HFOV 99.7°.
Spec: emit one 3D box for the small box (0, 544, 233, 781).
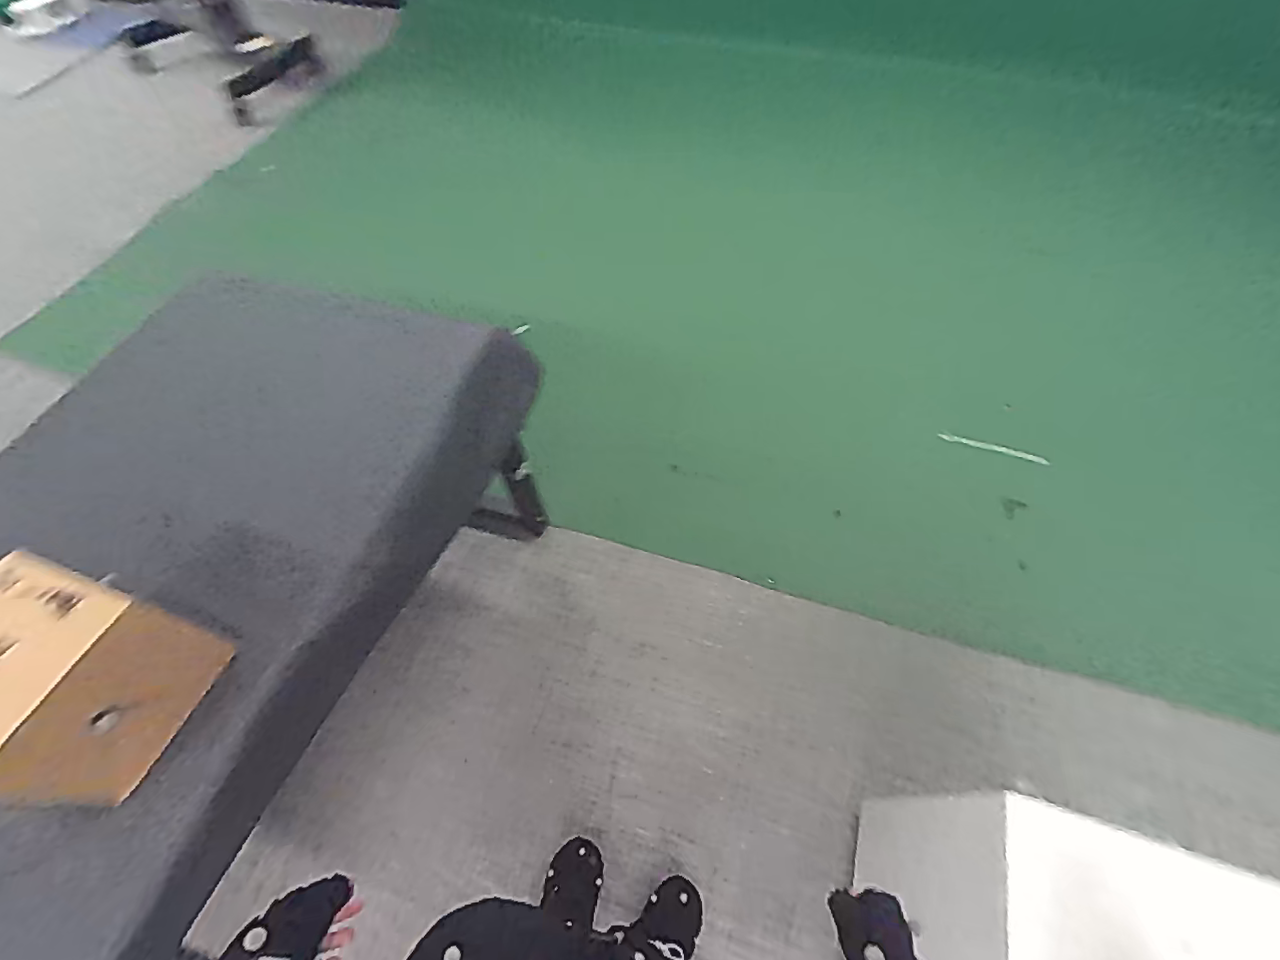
[{"bbox_3d":[-0.596,0.199,0.572,0.168,0.176,0.179,17,61,12],"label":"small box"}]
